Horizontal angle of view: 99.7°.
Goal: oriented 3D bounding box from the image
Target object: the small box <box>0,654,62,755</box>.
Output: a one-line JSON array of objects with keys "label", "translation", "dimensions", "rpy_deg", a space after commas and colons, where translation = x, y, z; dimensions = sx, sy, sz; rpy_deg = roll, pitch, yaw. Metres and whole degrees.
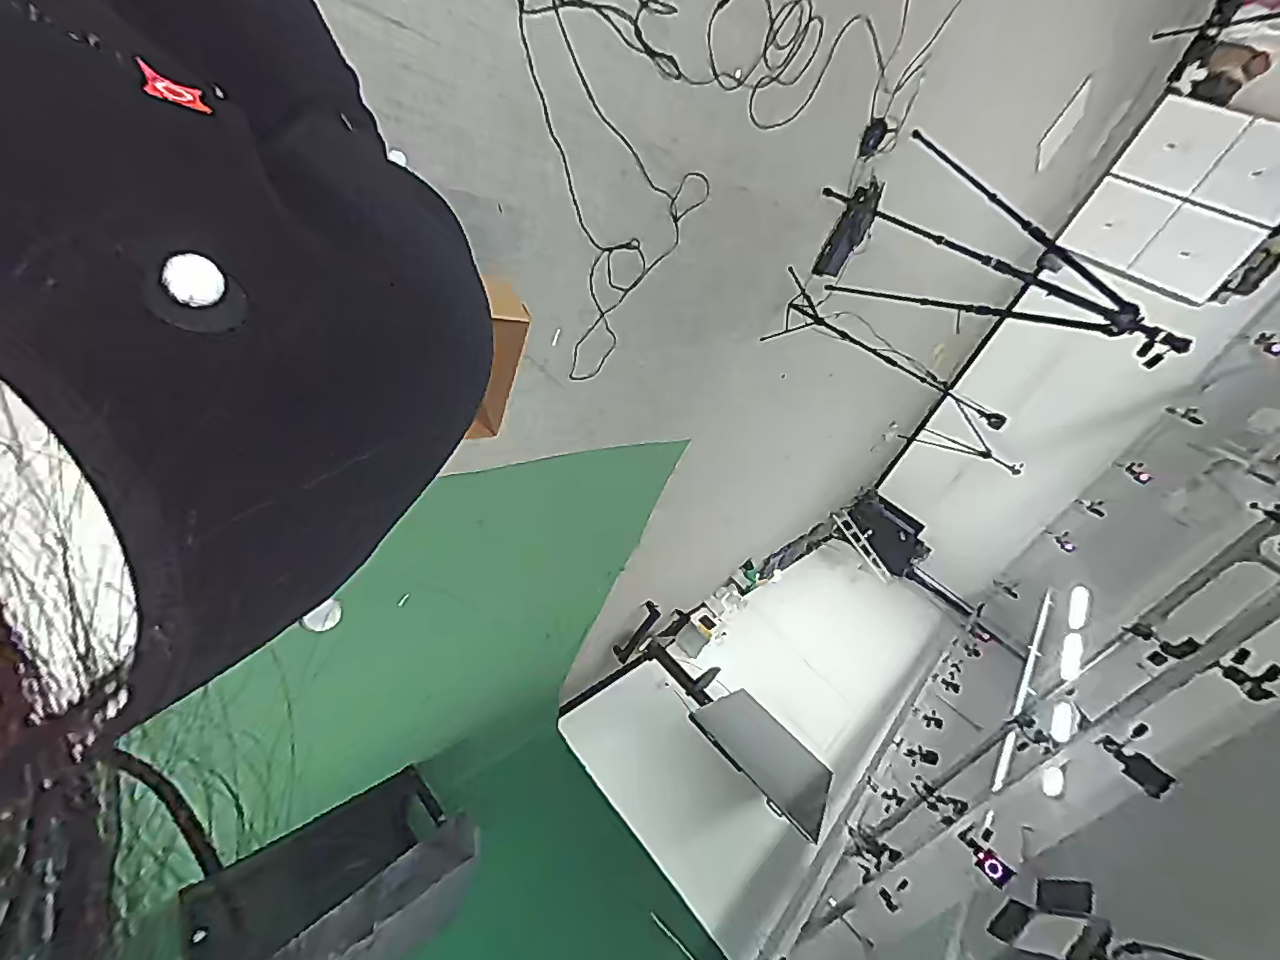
[{"label": "small box", "translation": [-1.667, 0.594, 1.413], "dimensions": [0.179, 0.176, 0.168], "rpy_deg": [-19, 141, -47]}]
